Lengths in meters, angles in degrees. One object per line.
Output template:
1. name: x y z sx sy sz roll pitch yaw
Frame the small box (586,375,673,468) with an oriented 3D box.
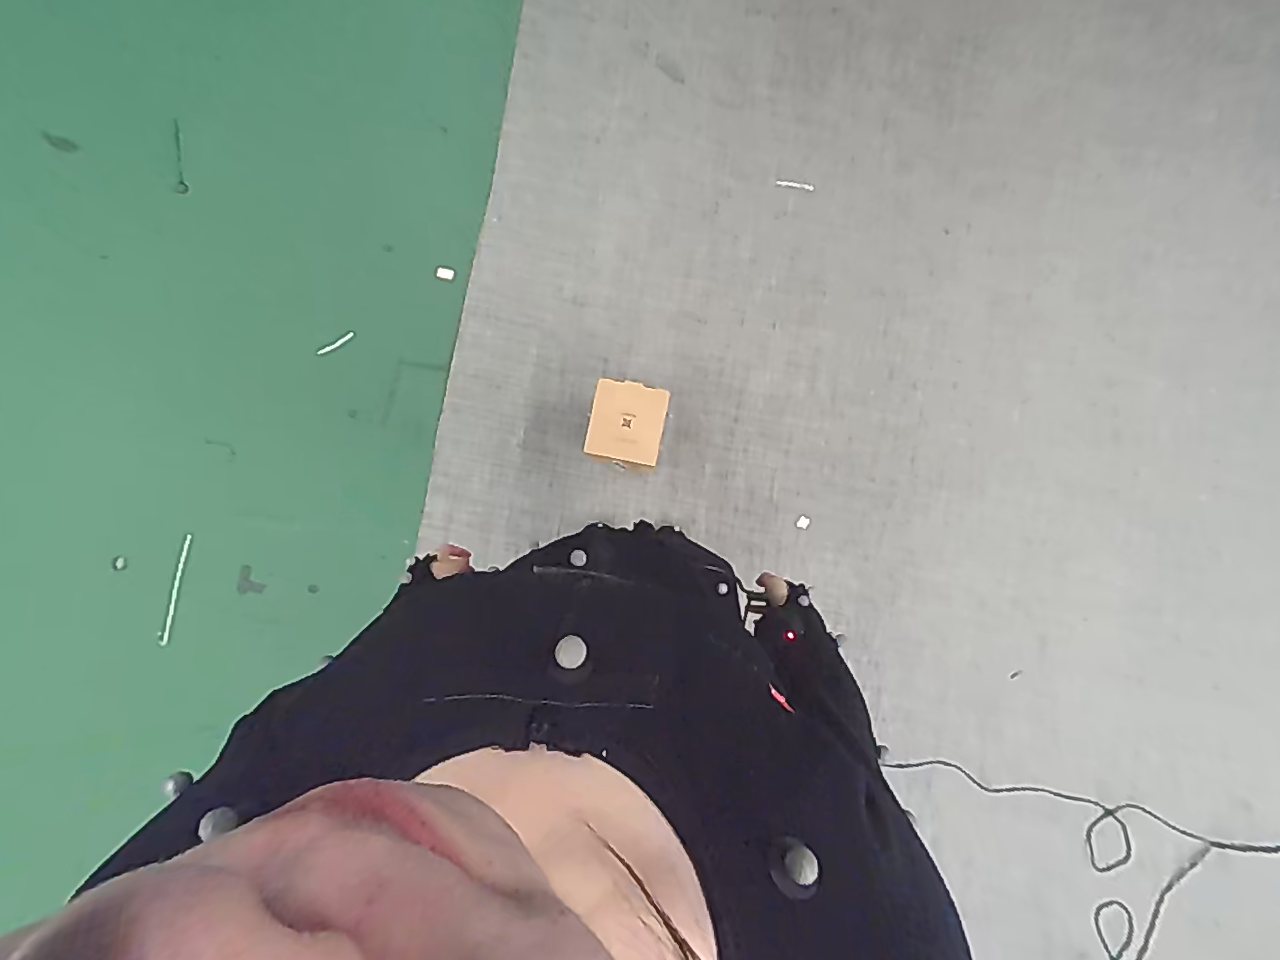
1. small box: -0.021 -0.131 1.271 0.168 0.176 0.179 11 88 3
